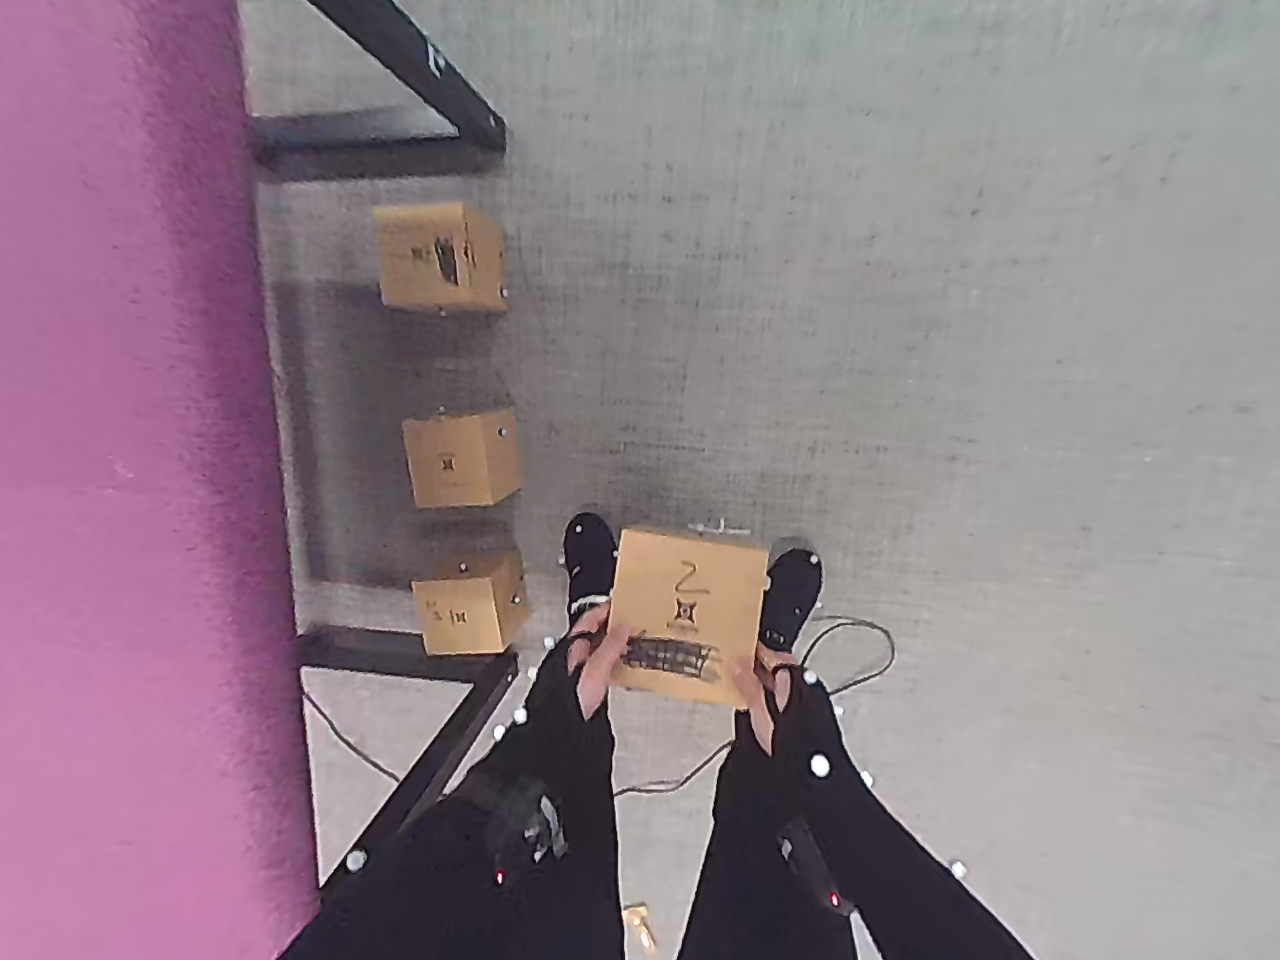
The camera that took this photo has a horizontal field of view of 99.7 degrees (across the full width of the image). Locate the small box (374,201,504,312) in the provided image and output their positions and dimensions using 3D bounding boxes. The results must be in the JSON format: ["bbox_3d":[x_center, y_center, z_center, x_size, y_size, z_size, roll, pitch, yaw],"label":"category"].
[{"bbox_3d":[-0.366,-0.412,1.020,0.179,0.176,0.168,1,101,9],"label":"small box"}]

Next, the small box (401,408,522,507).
[{"bbox_3d":[-0.351,-0.052,1.095,0.168,0.176,0.179,-2,102,10],"label":"small box"}]

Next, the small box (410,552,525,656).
[{"bbox_3d":[-0.356,0.259,1.160,0.179,0.176,0.168,-4,101,9],"label":"small box"}]
